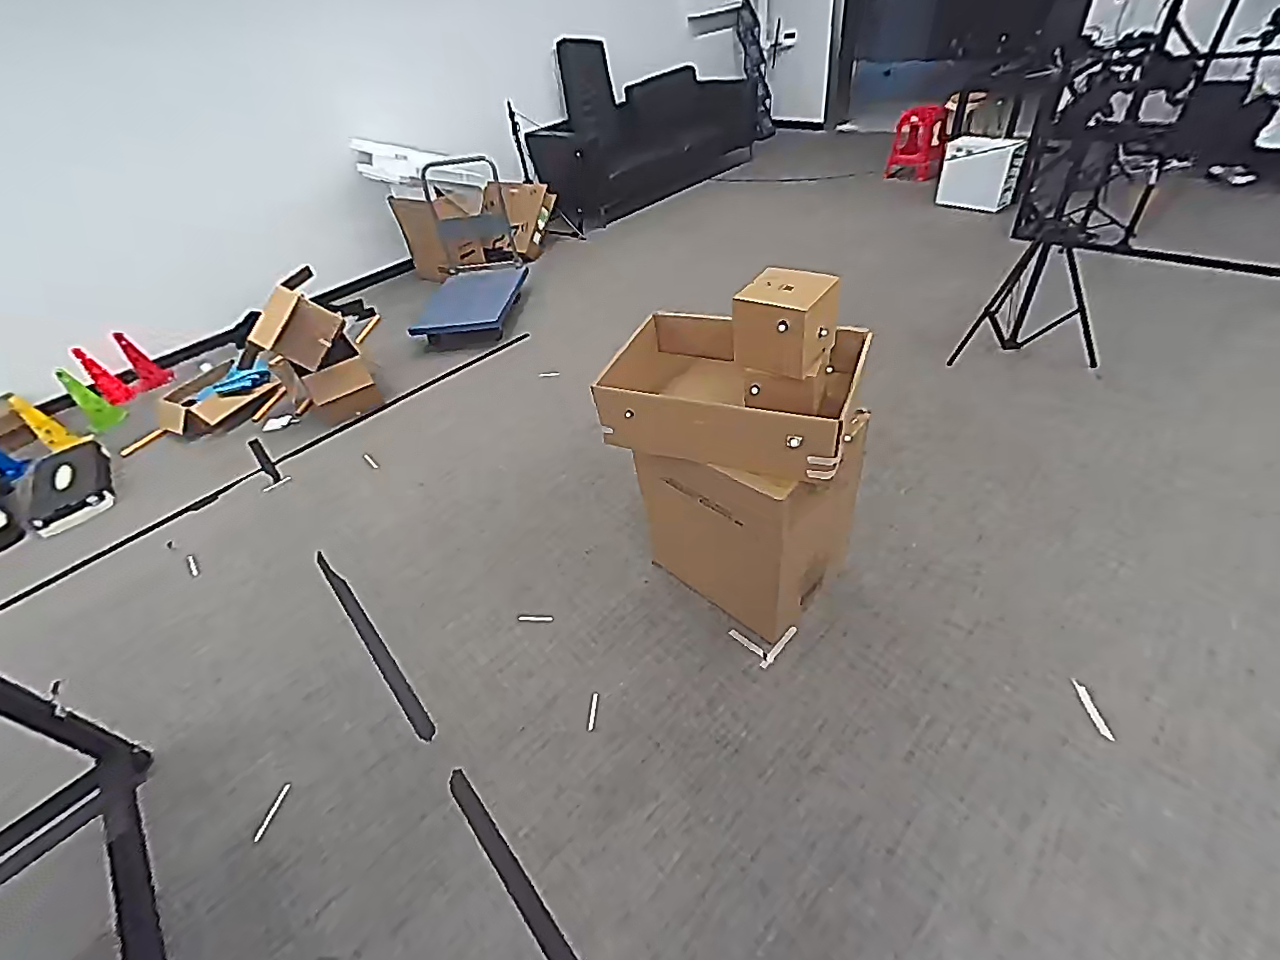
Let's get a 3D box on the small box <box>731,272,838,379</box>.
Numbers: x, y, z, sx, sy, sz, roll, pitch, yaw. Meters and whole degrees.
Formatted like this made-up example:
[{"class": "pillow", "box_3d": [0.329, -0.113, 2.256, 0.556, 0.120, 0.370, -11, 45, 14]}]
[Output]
[{"class": "small box", "box_3d": [0.326, -0.348, 1.227, 0.179, 0.176, 0.168, 23, 52, 33]}]
